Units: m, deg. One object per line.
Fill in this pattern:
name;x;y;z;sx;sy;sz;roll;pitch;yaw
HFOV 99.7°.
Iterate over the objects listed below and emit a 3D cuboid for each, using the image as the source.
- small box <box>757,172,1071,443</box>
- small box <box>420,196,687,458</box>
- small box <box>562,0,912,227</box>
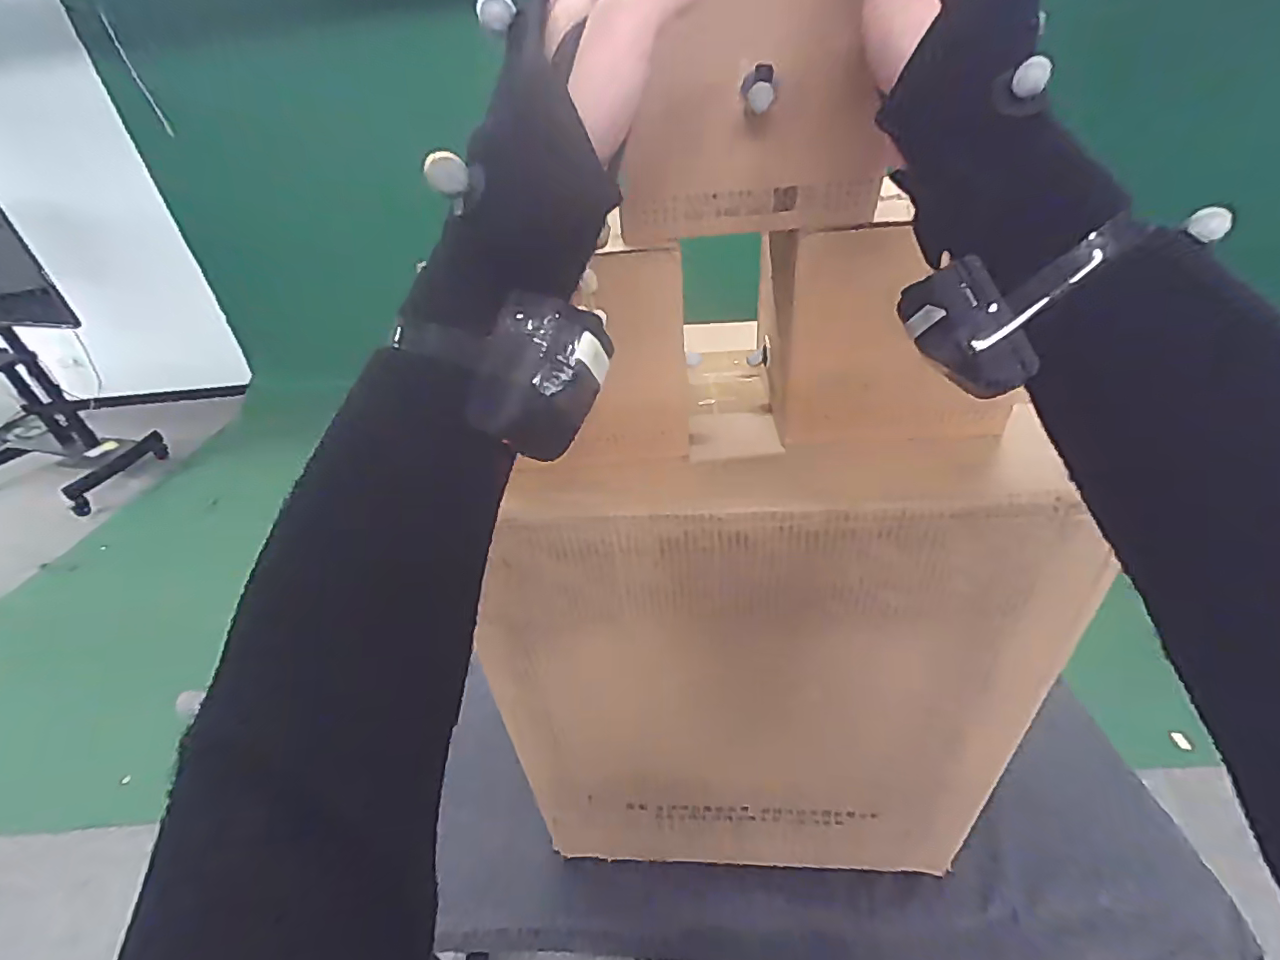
small box;0.198;-0.145;0.457;0.179;0.176;0.168;-3;37;6
small box;-0.053;-0.131;0.471;0.179;0.176;0.168;-3;40;7
small box;0.062;-0.291;0.363;0.179;0.176;0.168;-27;47;-17
